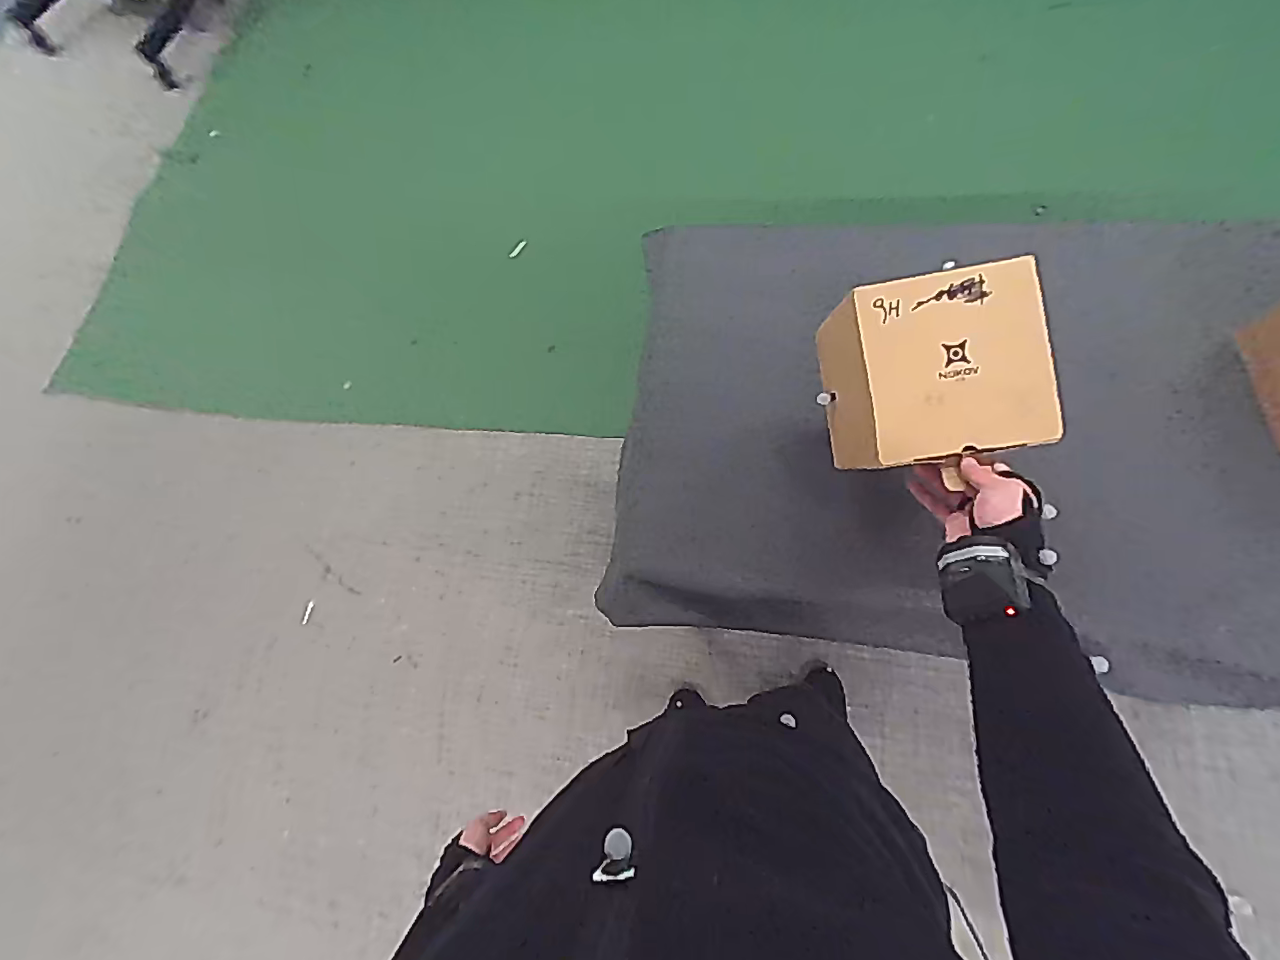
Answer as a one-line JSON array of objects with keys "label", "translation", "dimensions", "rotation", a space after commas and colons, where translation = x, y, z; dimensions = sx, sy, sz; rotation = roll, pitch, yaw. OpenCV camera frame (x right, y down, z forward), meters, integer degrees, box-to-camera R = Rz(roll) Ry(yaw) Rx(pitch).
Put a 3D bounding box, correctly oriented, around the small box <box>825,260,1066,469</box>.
[{"label": "small box", "translation": [0.309, -0.109, 0.583], "dimensions": [0.168, 0.176, 0.179], "rotation": [-8, 91, 6]}]
